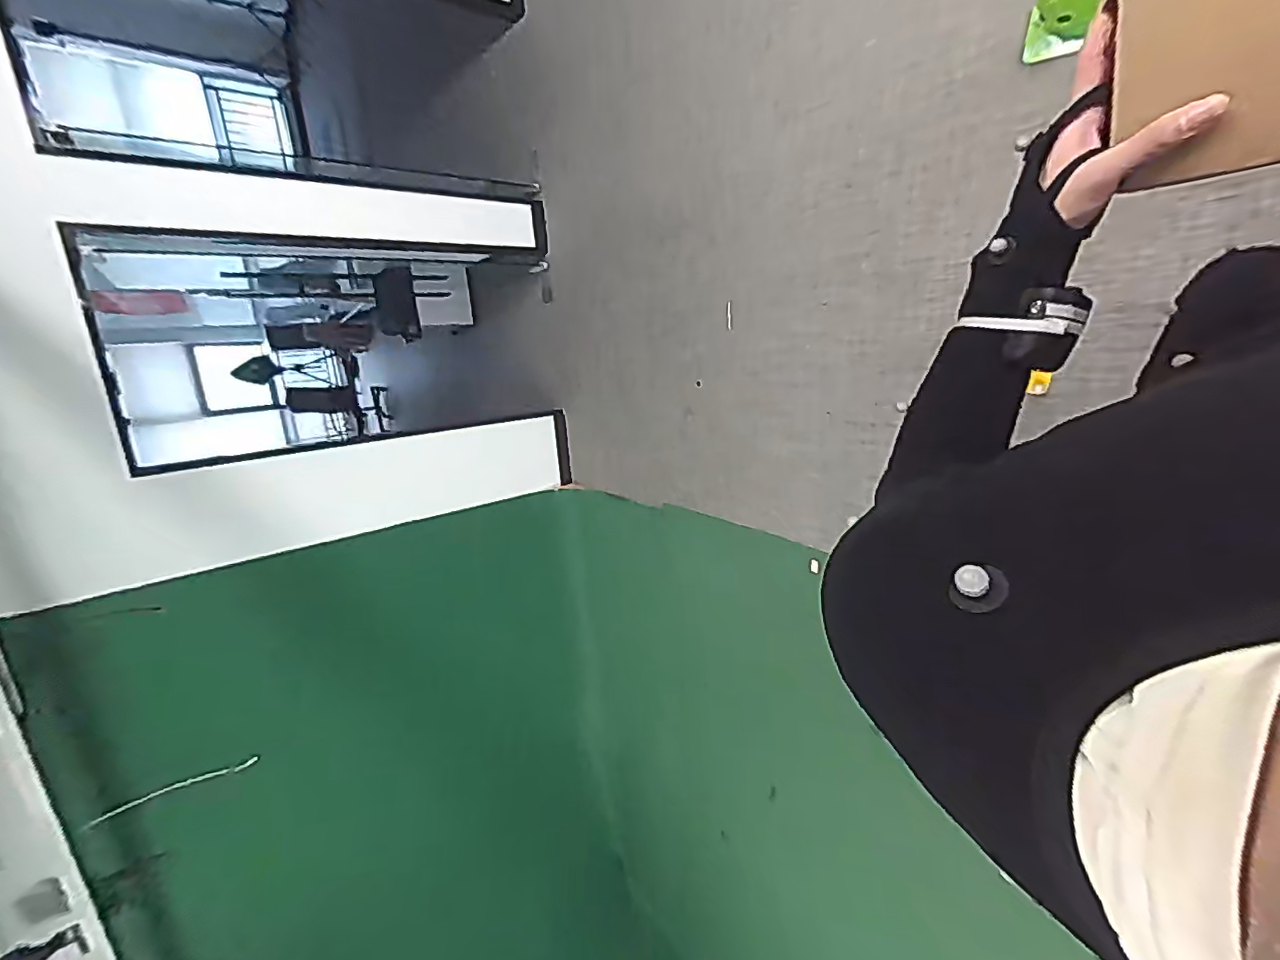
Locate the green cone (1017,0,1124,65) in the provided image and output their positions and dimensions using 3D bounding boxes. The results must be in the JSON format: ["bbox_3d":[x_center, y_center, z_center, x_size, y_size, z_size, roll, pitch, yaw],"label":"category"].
[{"bbox_3d":[0.824,-1.018,1.089,0.200,0.368,0.202,23,121,48],"label":"green cone"}]
